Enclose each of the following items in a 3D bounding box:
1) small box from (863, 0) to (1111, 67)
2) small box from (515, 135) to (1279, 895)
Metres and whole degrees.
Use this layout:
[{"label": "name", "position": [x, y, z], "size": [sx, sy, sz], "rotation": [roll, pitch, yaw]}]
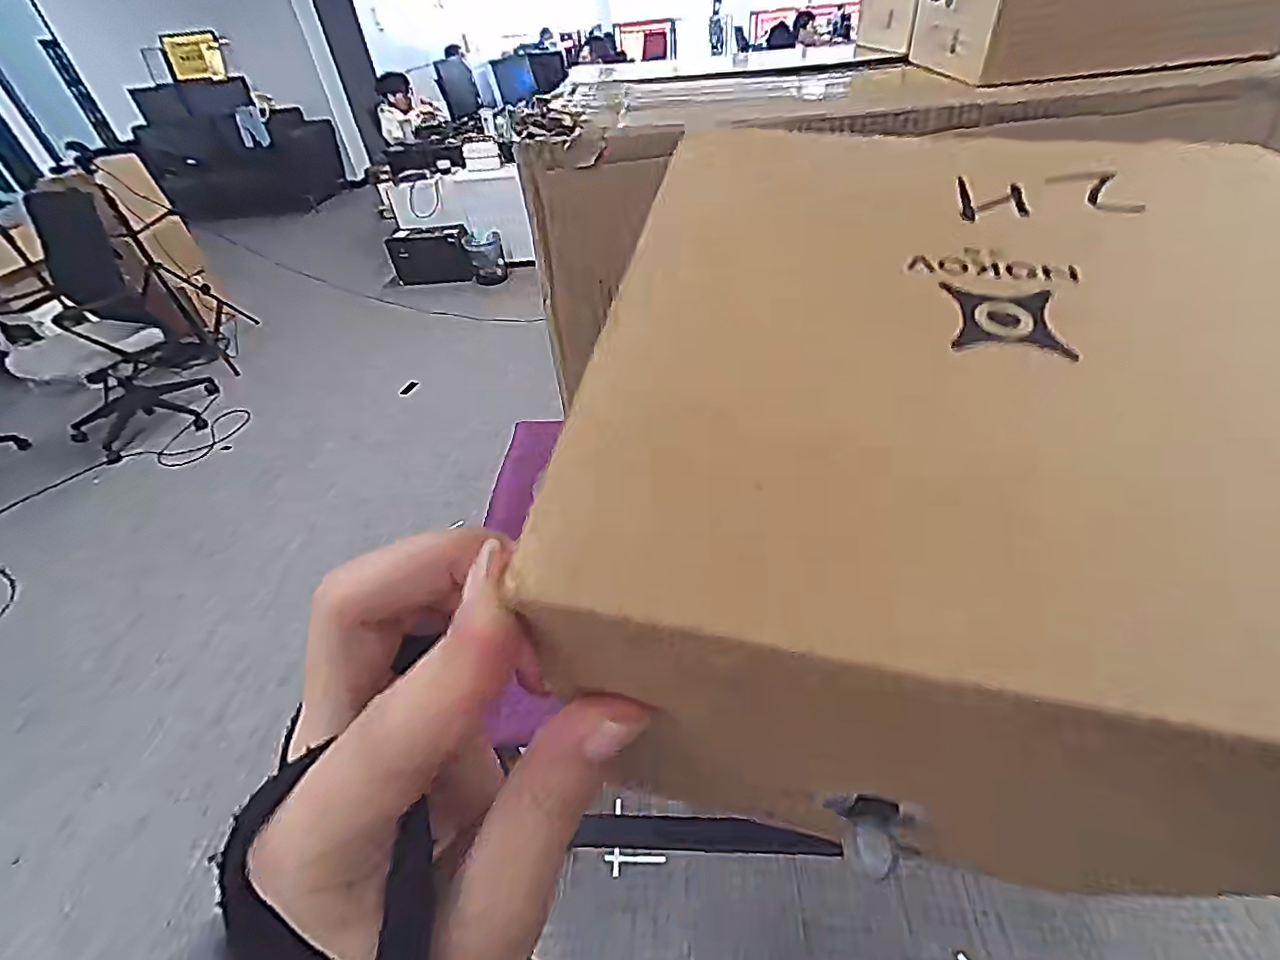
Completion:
[{"label": "small box", "position": [0.311, -0.481, 0.478], "size": [0.179, 0.176, 0.168], "rotation": [-3, 41, 4]}, {"label": "small box", "position": [0.081, 0.014, 0.181], "size": [0.168, 0.176, 0.179], "rotation": [9, 54, 9]}]
